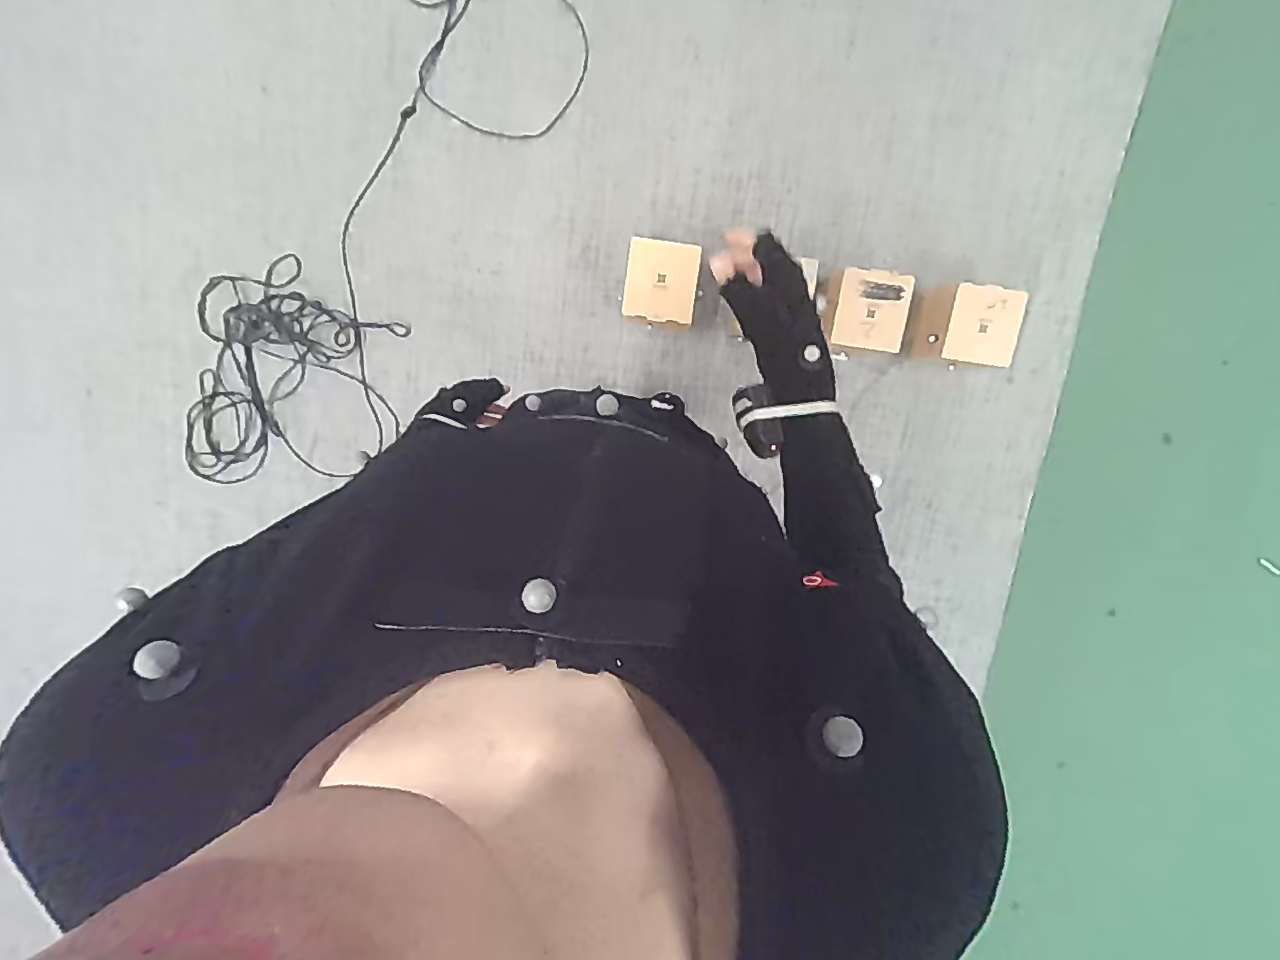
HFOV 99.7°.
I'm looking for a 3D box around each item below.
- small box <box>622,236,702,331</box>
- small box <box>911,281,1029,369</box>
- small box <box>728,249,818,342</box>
[{"bbox_3d":[0.050,-0.469,1.312,0.168,0.176,0.179,8,100,0],"label":"small box"},{"bbox_3d":[0.790,-0.370,1.316,0.168,0.176,0.179,8,100,-1],"label":"small box"},{"bbox_3d":[0.314,-0.438,1.310,0.168,0.176,0.179,8,99,0],"label":"small box"}]
